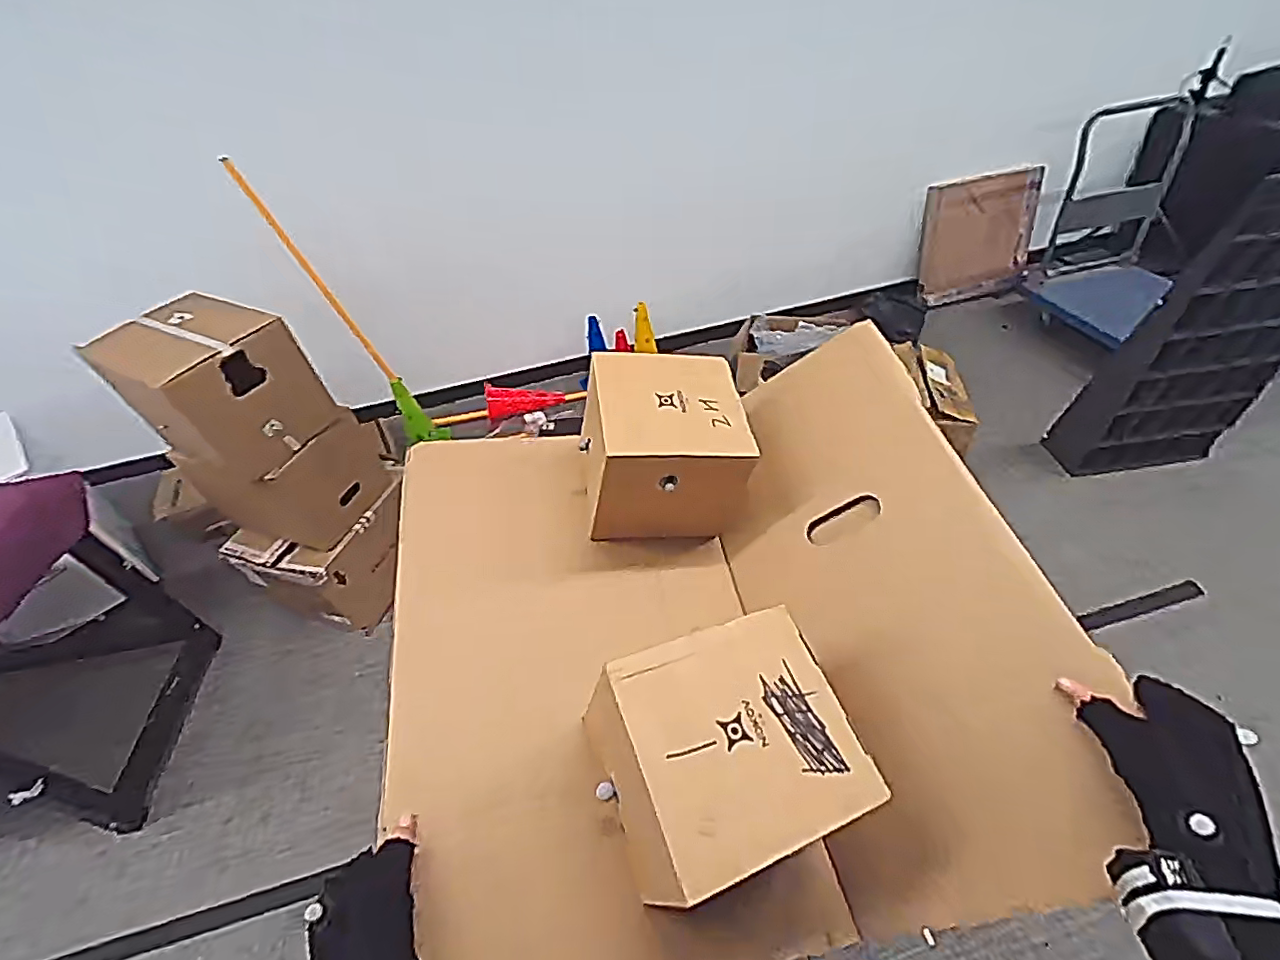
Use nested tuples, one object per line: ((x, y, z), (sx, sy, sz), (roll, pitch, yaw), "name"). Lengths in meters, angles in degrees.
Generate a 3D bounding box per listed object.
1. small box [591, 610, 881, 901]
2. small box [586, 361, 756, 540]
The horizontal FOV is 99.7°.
((0.067, 0.244, 0.489), (0.179, 0.176, 0.168), (-12, 56, -20), "small box")
((0.024, -0.032, 0.696), (0.179, 0.176, 0.168), (1, 53, -13), "small box")
